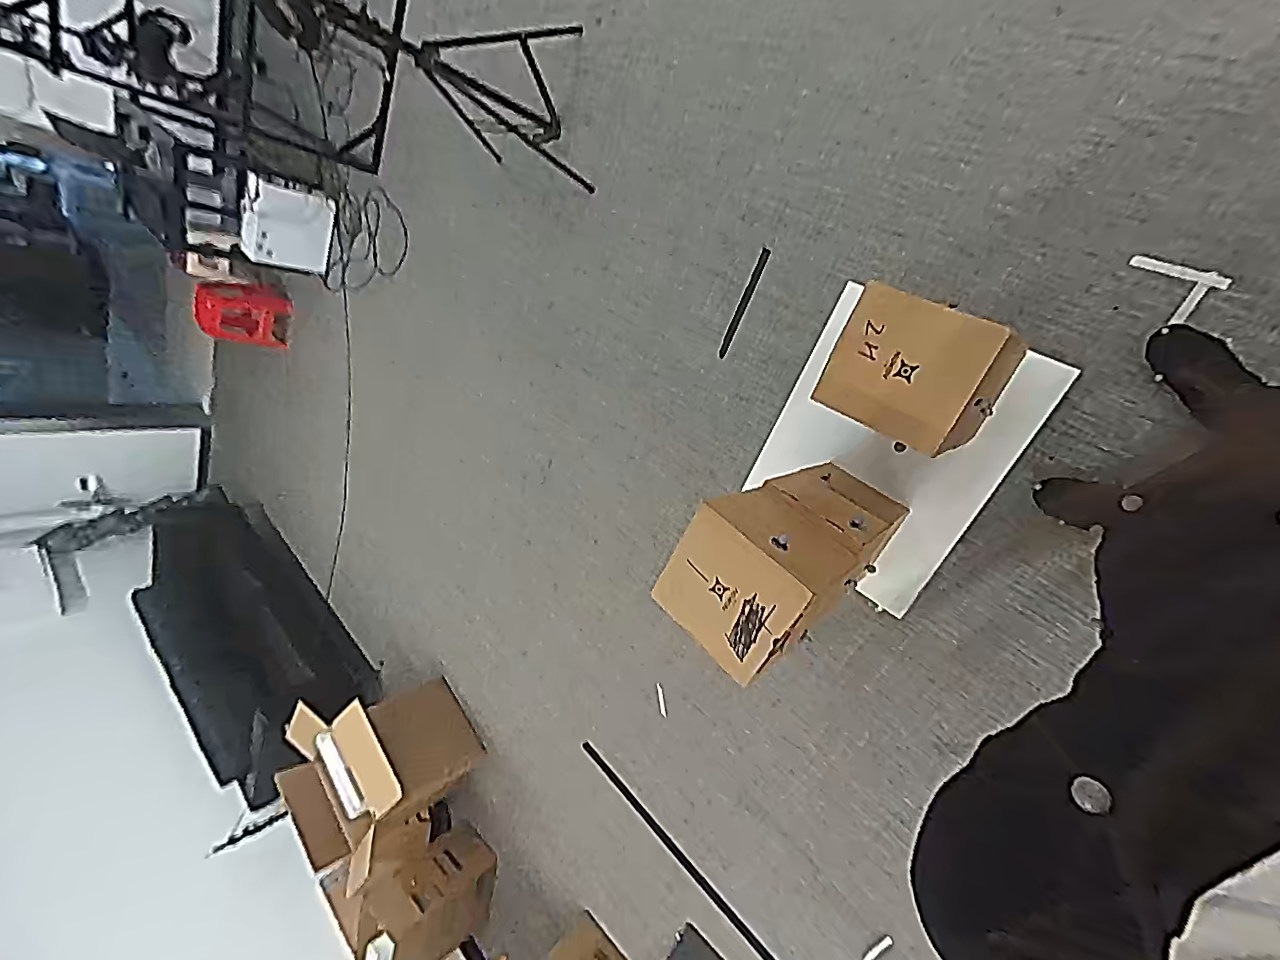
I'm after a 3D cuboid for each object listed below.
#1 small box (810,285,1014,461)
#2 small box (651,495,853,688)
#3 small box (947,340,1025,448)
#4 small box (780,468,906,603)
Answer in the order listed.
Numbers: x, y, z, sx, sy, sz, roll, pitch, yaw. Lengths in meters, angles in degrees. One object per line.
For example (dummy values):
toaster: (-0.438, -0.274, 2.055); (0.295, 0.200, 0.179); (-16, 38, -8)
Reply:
small box: (0.370, -0.145, 0.730); (0.179, 0.176, 0.168); (35, 117, 29)
small box: (0.154, 0.135, 0.733); (0.179, 0.176, 0.168); (41, 119, 28)
small box: (0.472, -0.165, 0.859); (0.179, 0.176, 0.168); (34, 117, 30)
small box: (0.354, 0.089, 0.990); (0.179, 0.176, 0.168); (37, 117, 29)
